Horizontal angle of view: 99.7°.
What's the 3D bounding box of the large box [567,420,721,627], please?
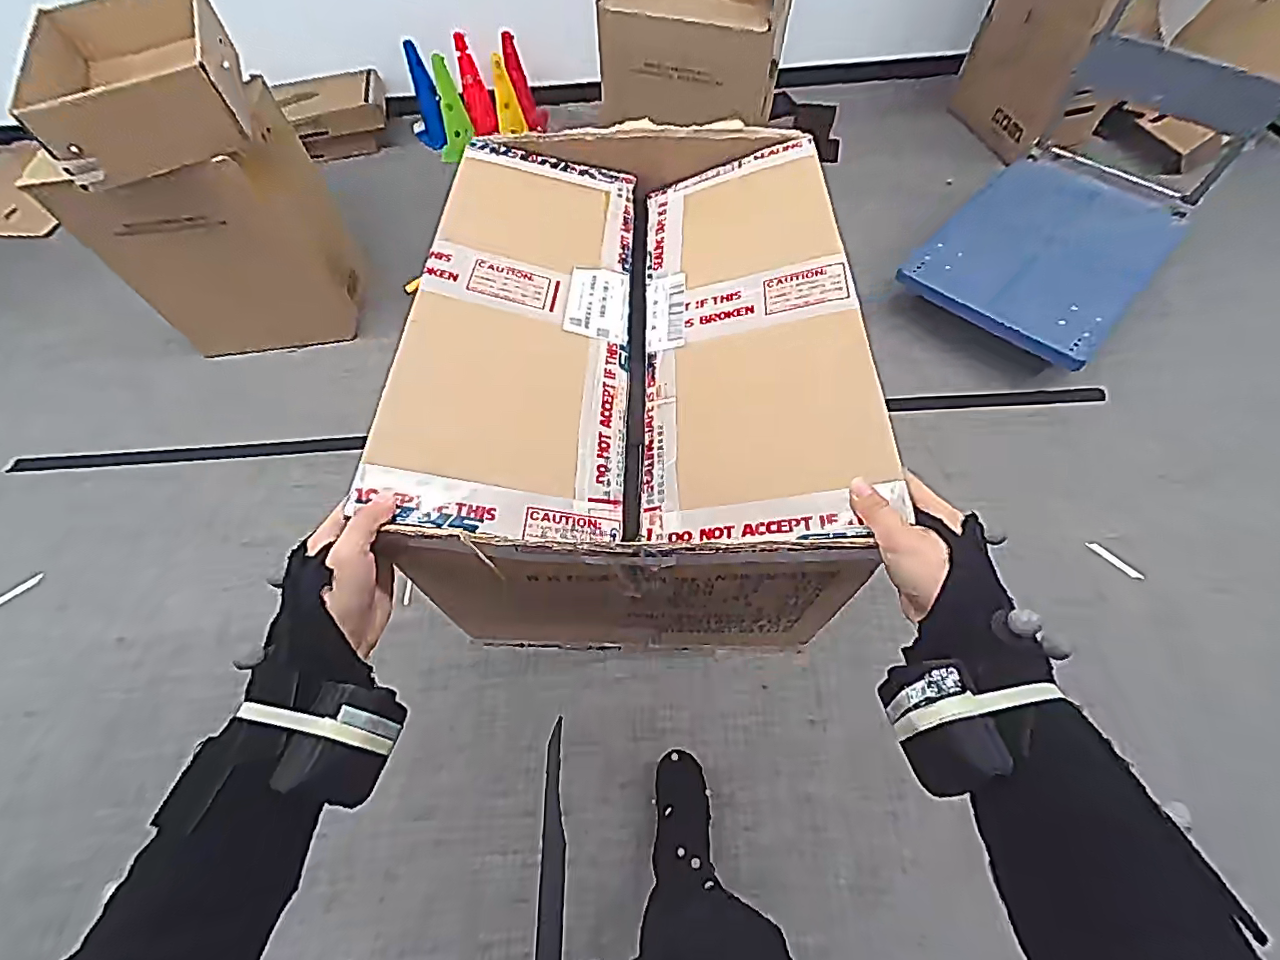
[{"bbox_3d":[0.002,0.112,1.311,0.320,0.320,0.408,-4,61,1],"label":"large box"}]
